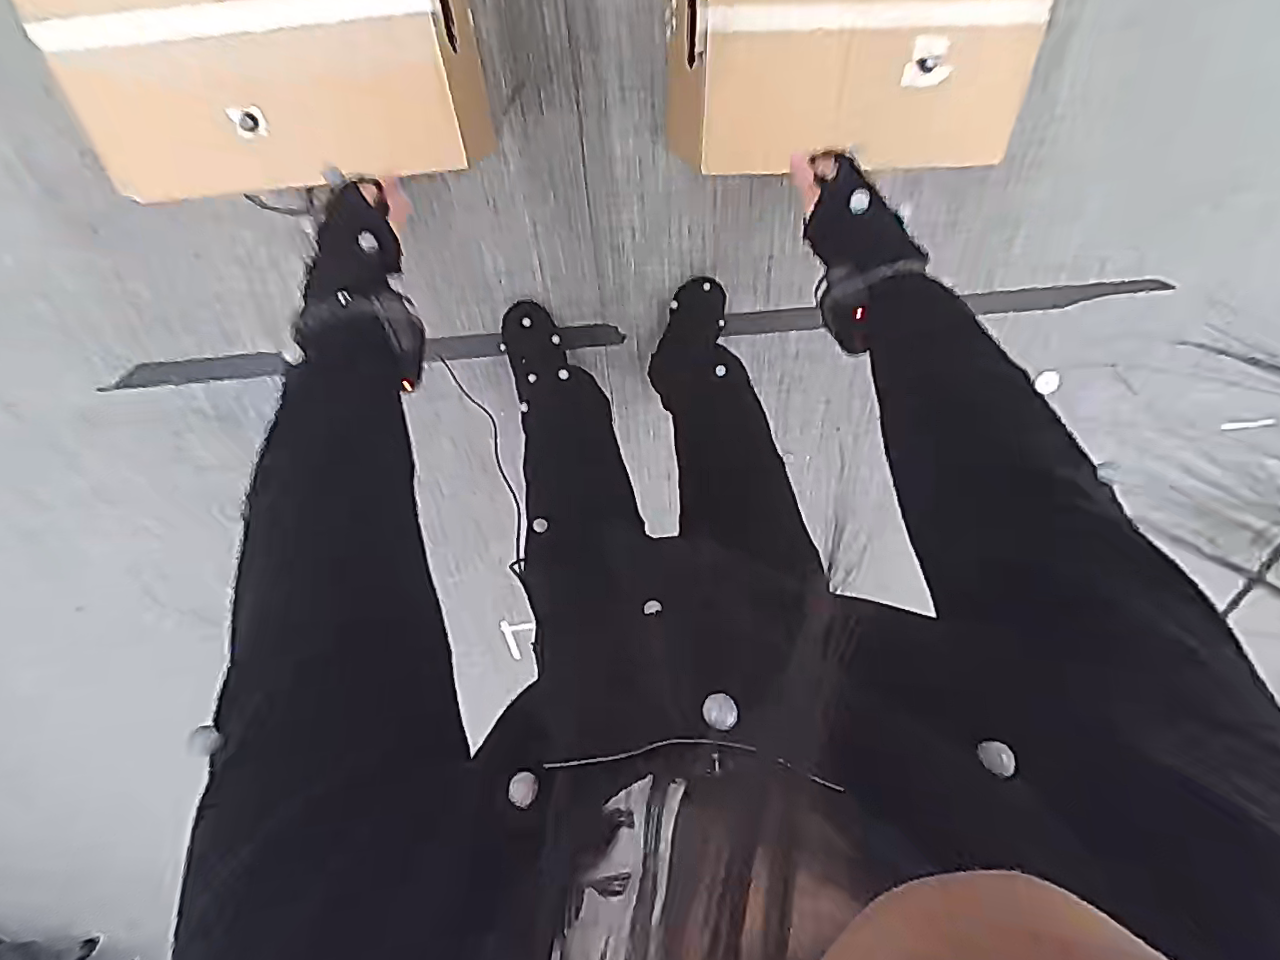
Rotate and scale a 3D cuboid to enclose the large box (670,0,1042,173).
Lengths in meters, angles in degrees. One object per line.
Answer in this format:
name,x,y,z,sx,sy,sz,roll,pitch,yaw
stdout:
large box,0.258,-0.624,0.749,0.408,0.320,0.320,-4,126,-5
